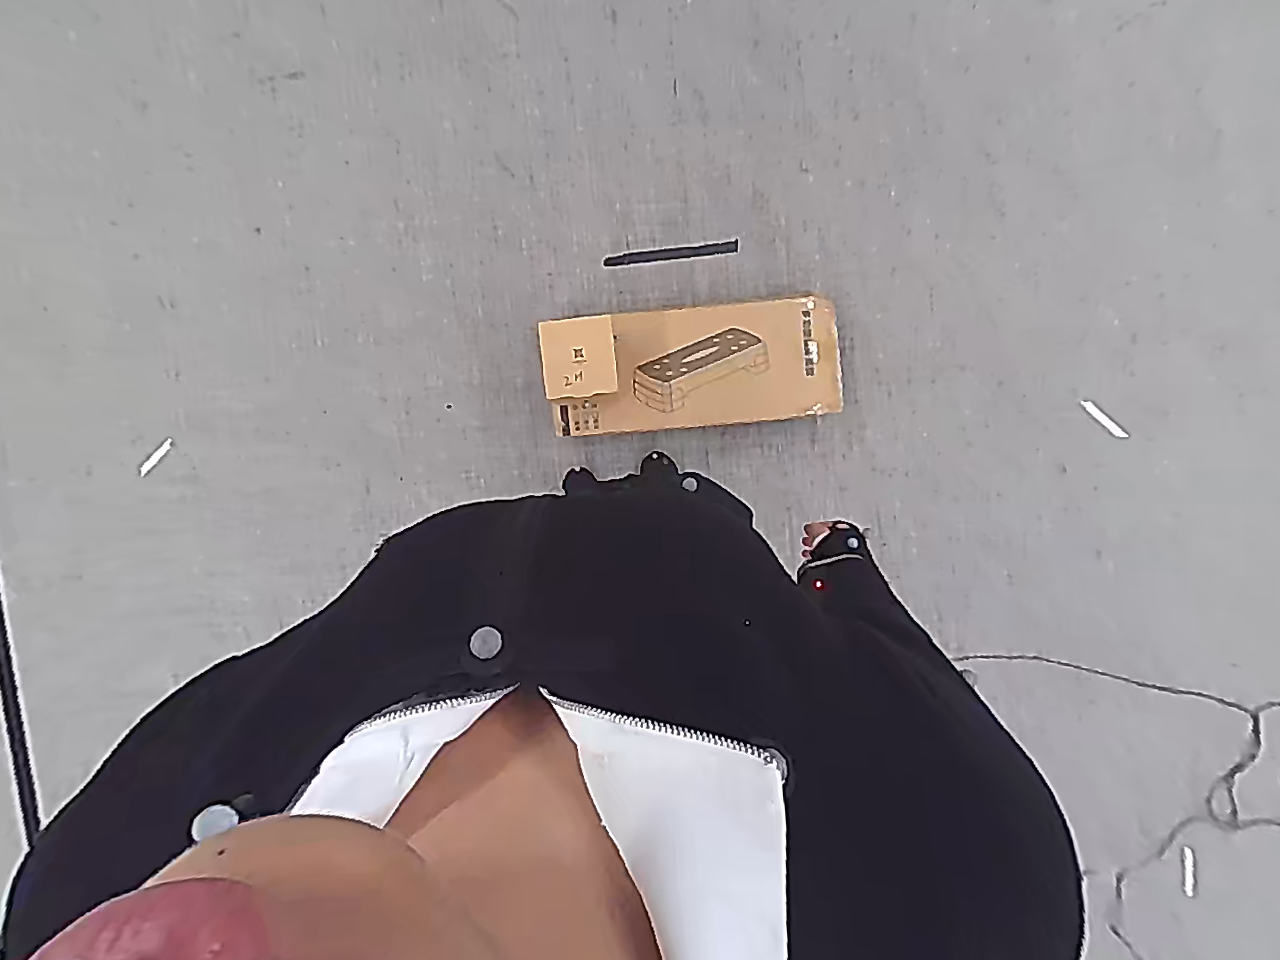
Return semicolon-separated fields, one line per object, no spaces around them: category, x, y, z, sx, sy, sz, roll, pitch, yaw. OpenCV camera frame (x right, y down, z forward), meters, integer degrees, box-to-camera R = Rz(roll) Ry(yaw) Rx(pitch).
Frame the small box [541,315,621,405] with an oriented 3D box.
small box;-0.135;-0.279;1.287;0.168;0.176;0.179;-6;93;1
